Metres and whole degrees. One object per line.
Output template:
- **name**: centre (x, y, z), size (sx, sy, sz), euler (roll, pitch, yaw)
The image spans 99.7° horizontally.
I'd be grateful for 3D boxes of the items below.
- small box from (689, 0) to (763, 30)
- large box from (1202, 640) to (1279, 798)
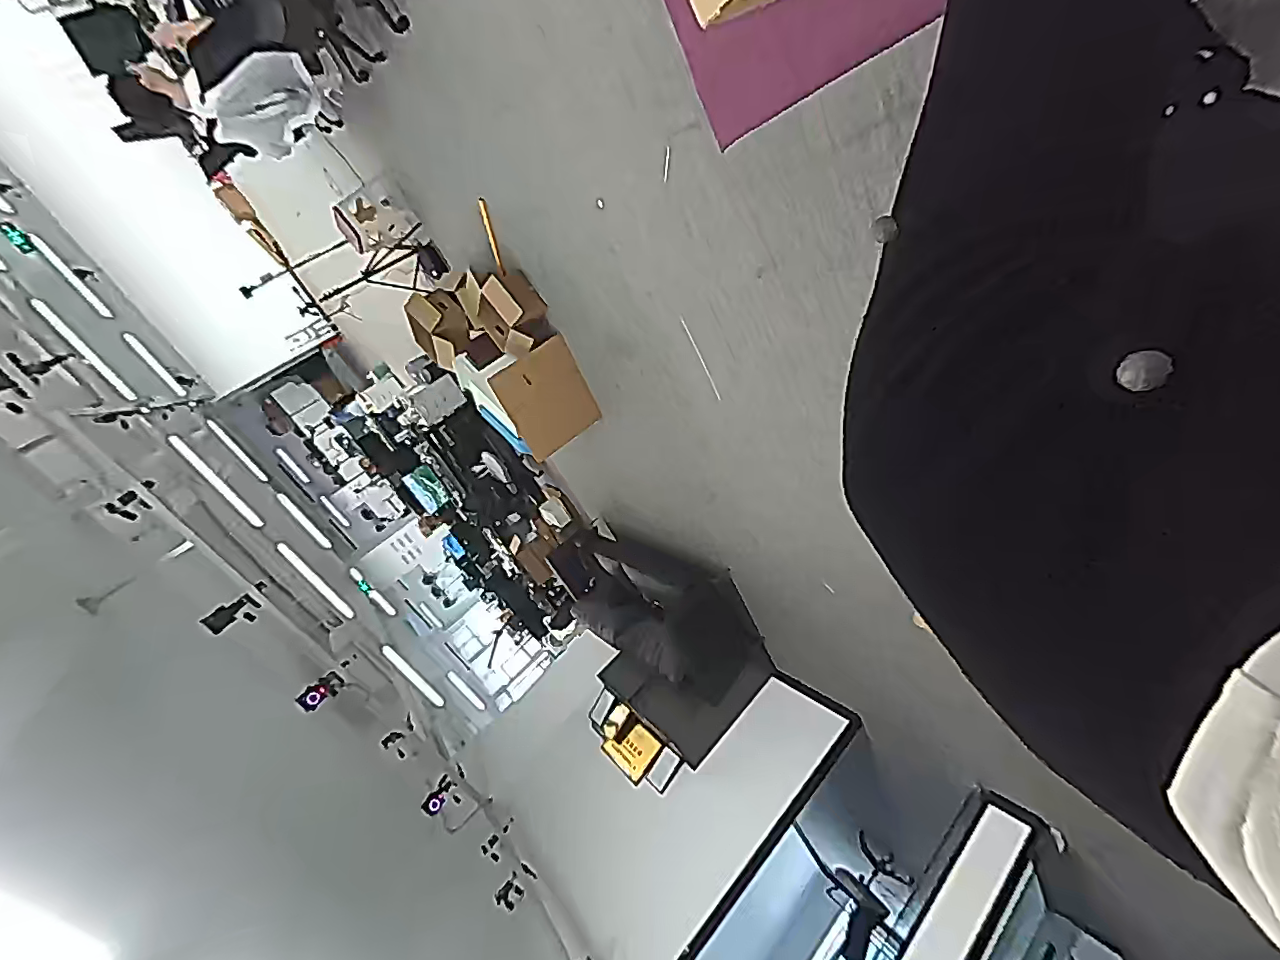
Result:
- **small box**: centre (0.124, -0.569, 0.485), size (0.168, 0.176, 0.179), euler (10, 136, 56)
- **large box**: centre (1.853, 0.634, 1.411), size (0.320, 0.320, 0.408), euler (47, 157, 3)
